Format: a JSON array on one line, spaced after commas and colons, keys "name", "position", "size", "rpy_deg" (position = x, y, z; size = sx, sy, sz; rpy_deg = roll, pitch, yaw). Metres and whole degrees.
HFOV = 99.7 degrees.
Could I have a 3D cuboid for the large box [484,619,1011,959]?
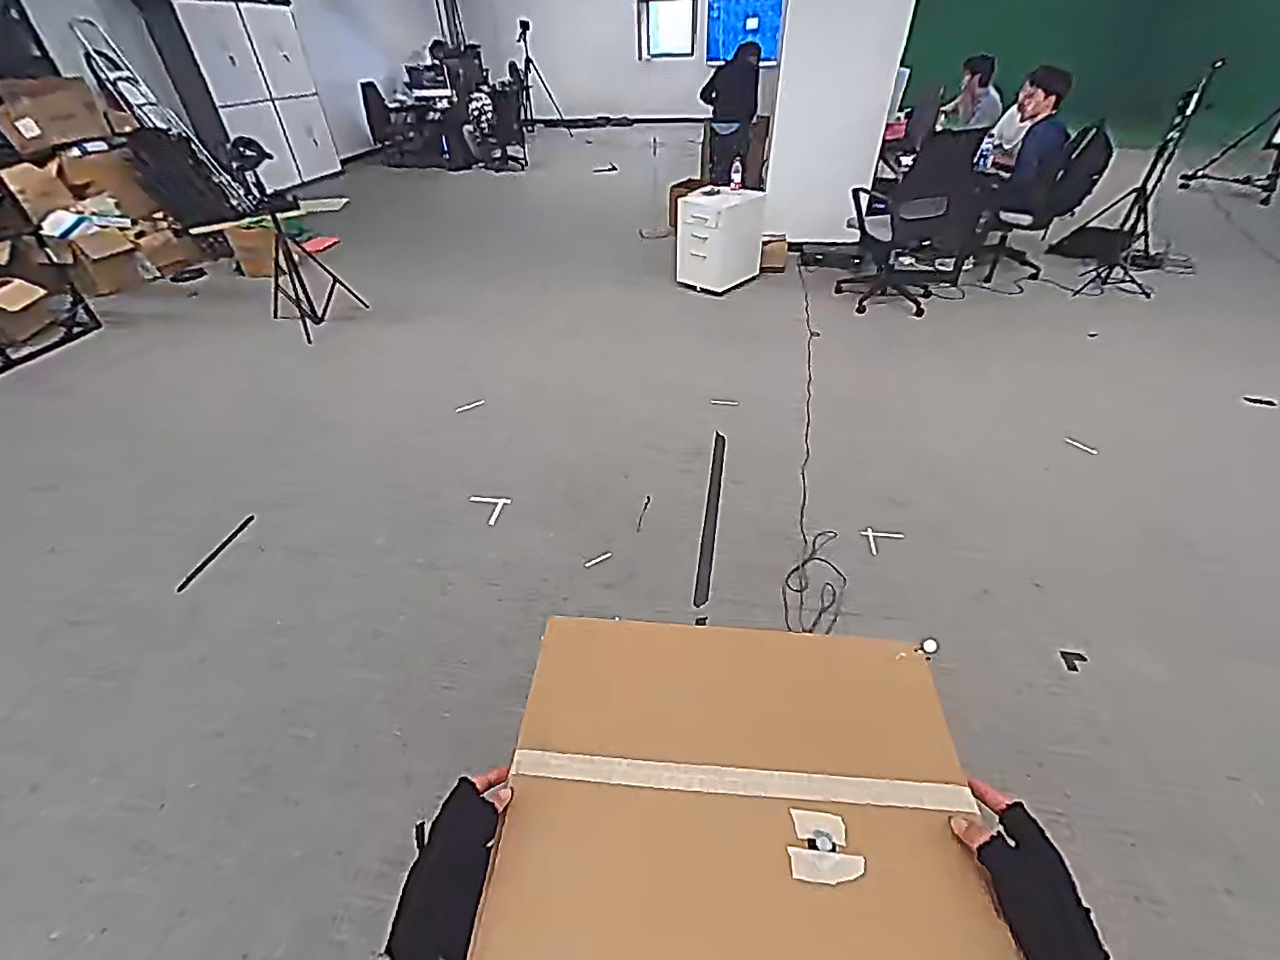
[{"name": "large box", "position": [0.089, 0.381, 0.602], "size": [0.408, 0.320, 0.320], "rpy_deg": [3, 44, 4]}]
